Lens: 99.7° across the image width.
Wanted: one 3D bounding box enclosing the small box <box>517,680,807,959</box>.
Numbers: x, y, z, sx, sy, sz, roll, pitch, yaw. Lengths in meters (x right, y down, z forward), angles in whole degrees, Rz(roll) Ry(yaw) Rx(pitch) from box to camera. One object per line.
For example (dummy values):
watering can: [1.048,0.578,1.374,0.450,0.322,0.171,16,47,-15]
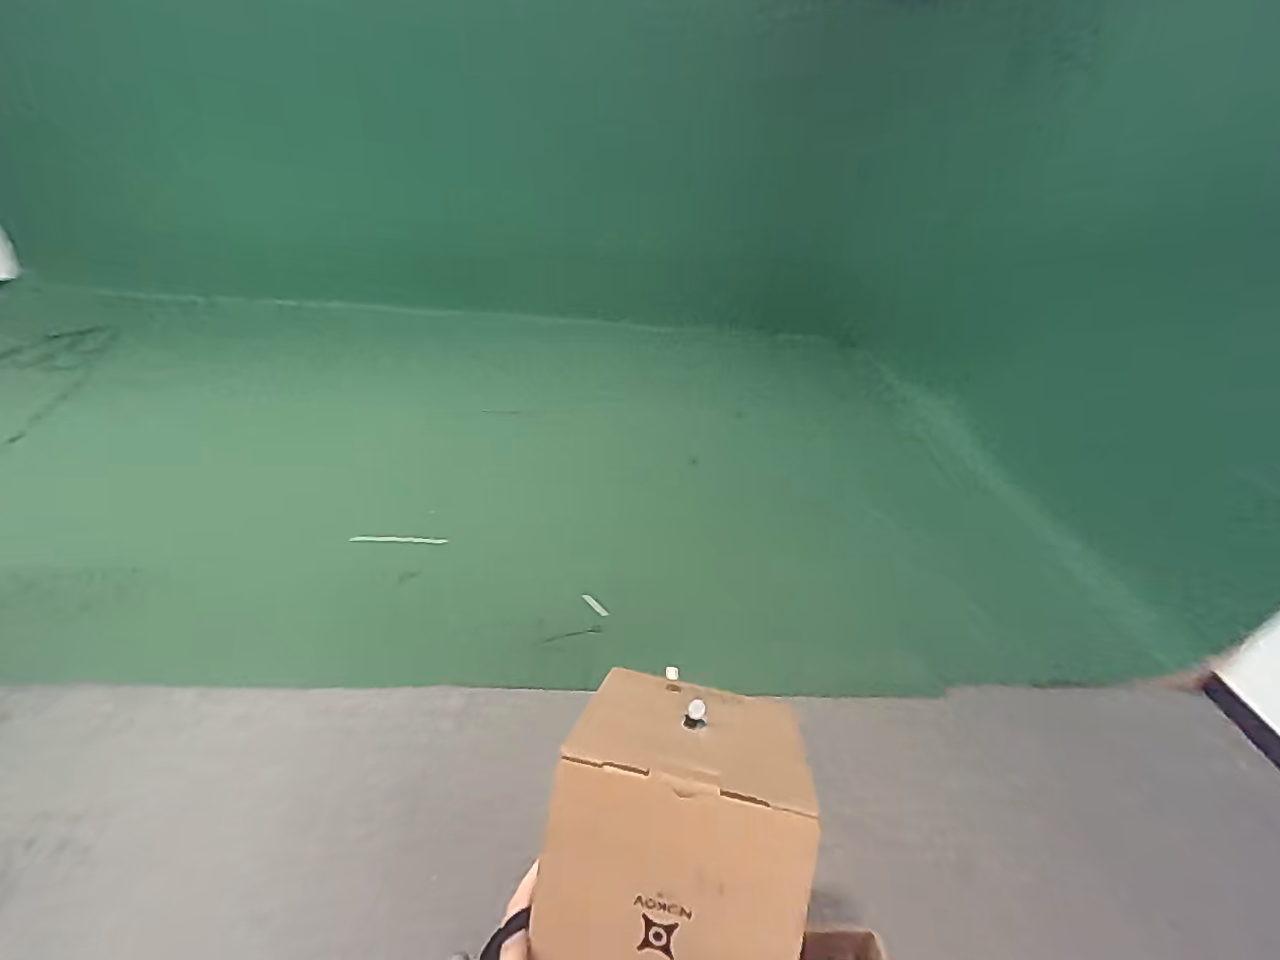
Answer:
small box: [0.020,0.274,0.414,0.168,0.179,0.176,9,0,9]
